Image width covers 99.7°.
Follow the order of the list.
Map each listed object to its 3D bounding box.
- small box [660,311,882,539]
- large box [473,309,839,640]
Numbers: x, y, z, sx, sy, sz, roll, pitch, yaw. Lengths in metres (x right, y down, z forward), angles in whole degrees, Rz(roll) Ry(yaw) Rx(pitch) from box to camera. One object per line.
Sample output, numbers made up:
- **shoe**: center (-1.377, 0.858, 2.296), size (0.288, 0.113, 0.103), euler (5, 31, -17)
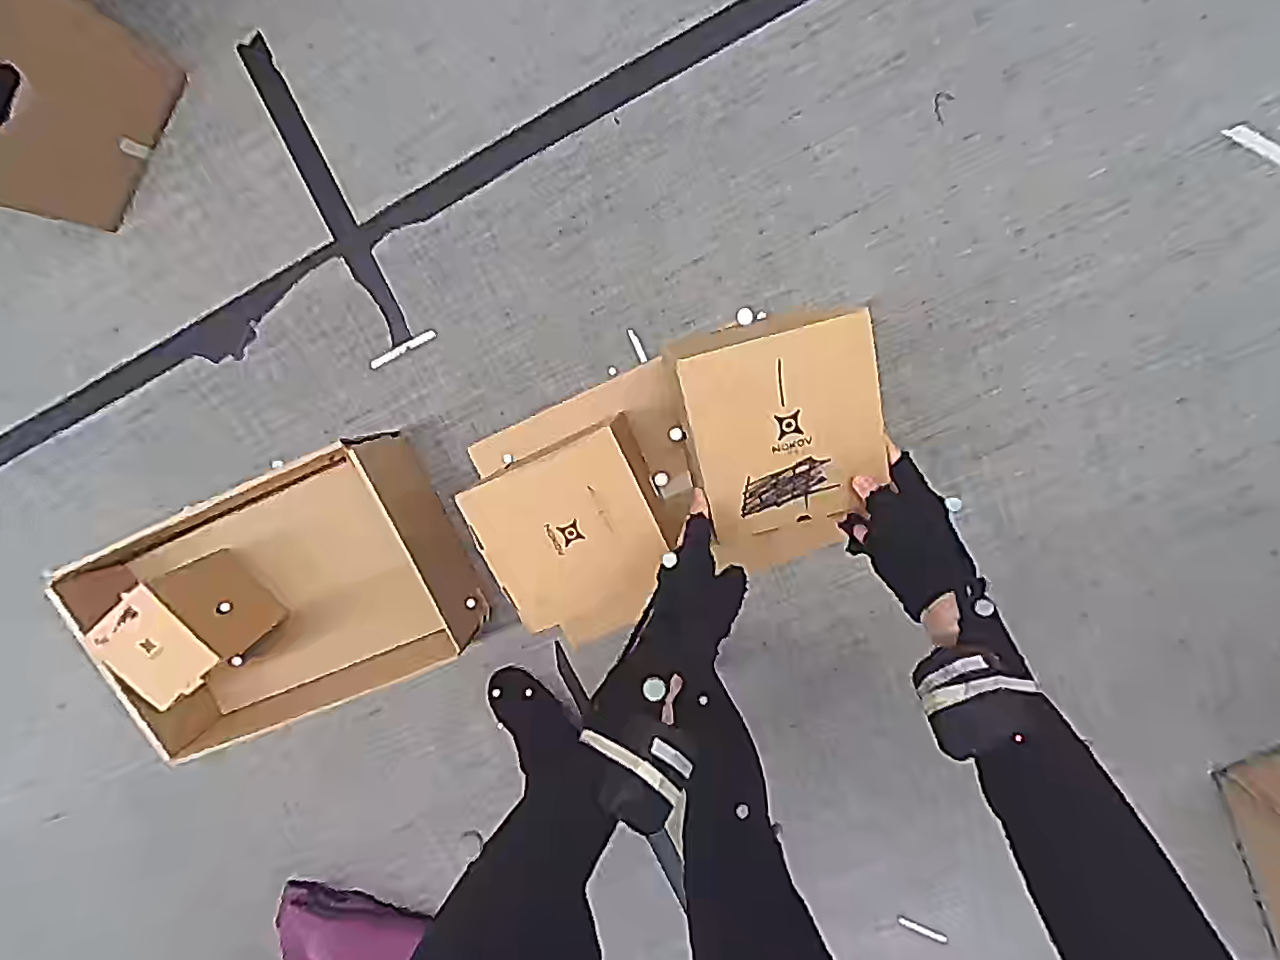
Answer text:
- **small box**: center (0.122, -0.066, 0.551), size (0.168, 0.176, 0.179), euler (-15, 107, 2)
- **large box**: center (0.025, -0.020, 0.852), size (0.408, 0.320, 0.320), euler (-25, 100, 7)
